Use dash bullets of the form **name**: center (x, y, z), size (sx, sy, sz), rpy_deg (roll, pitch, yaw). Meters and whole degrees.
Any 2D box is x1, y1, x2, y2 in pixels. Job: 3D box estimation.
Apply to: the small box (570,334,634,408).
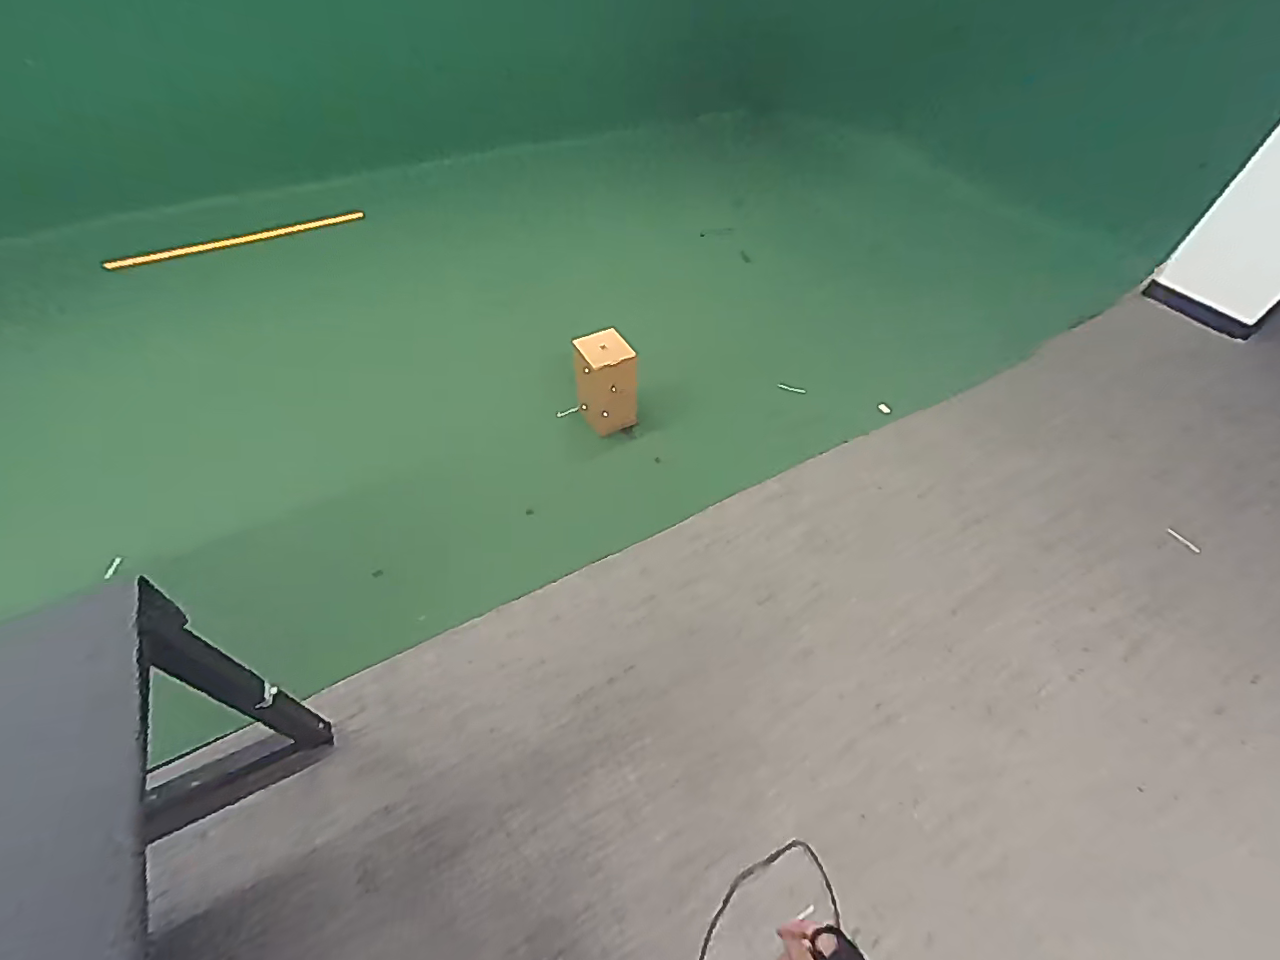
- **small box**: center (-0.138, -0.385, 1.916), size (0.168, 0.176, 0.179), rpy_deg (-22, 55, -21)
